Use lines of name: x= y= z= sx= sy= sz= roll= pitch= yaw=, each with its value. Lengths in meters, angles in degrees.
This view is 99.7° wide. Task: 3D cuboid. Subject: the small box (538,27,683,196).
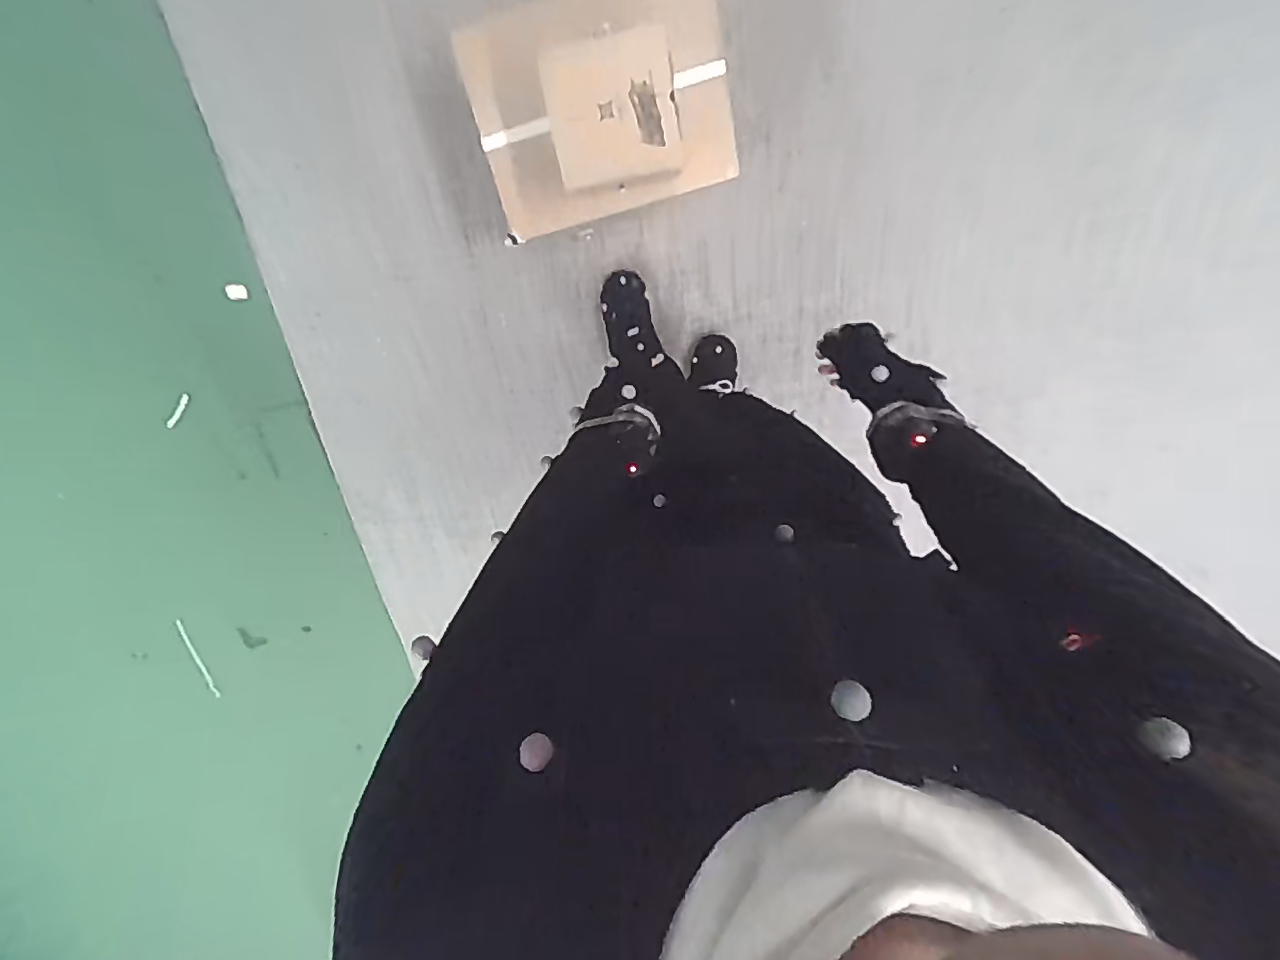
small box: x=-0.036 y=-0.537 z=0.814 sx=0.179 sy=0.176 sz=0.168 roll=-9 pitch=113 yaw=6
